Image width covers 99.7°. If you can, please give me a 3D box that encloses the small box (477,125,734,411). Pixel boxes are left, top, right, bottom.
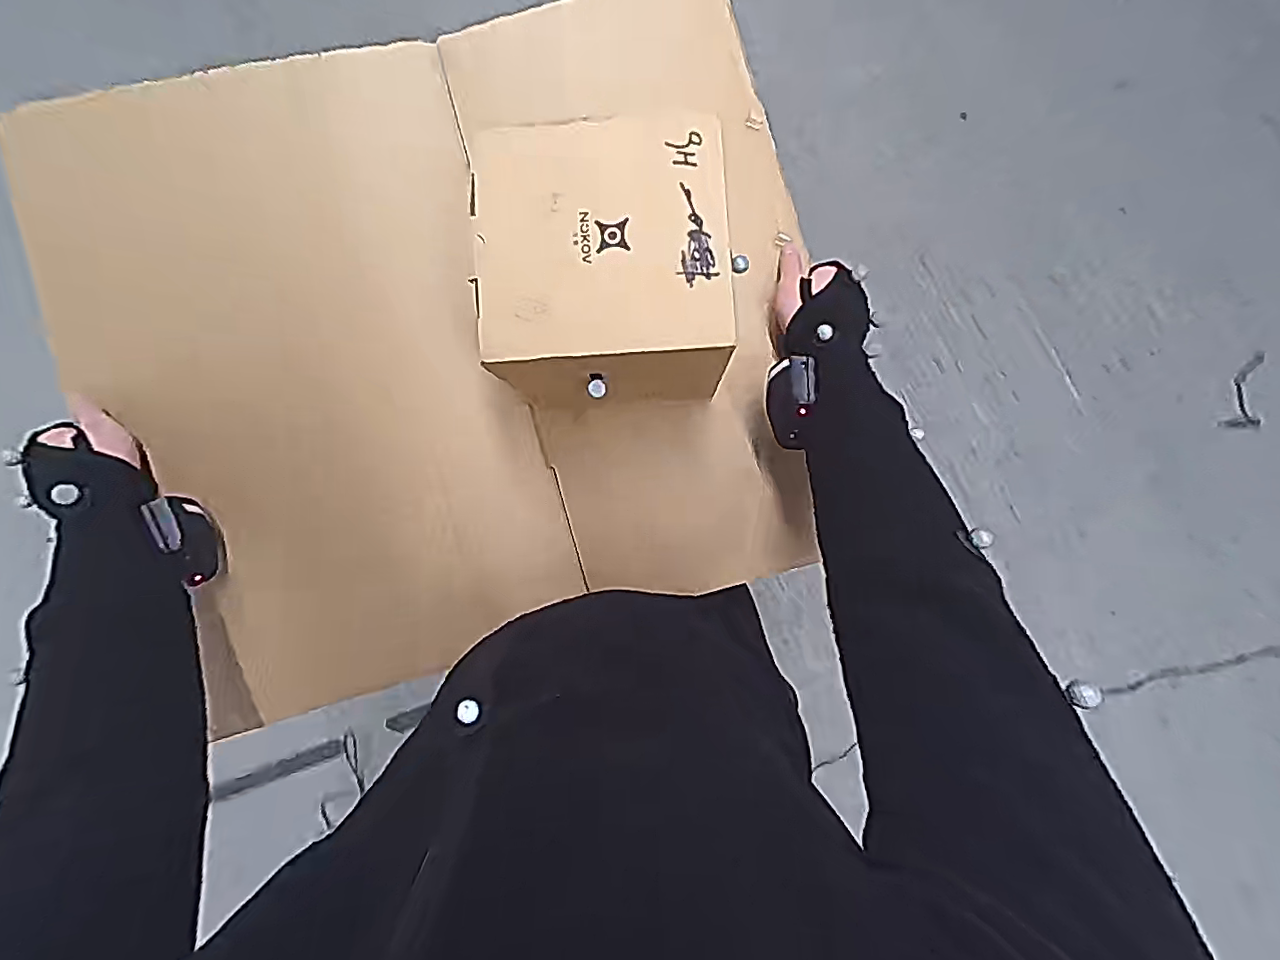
[{"bbox_3d":[-0.021,-0.157,0.458,0.179,0.176,0.168,-5,87,3],"label":"small box"}]
